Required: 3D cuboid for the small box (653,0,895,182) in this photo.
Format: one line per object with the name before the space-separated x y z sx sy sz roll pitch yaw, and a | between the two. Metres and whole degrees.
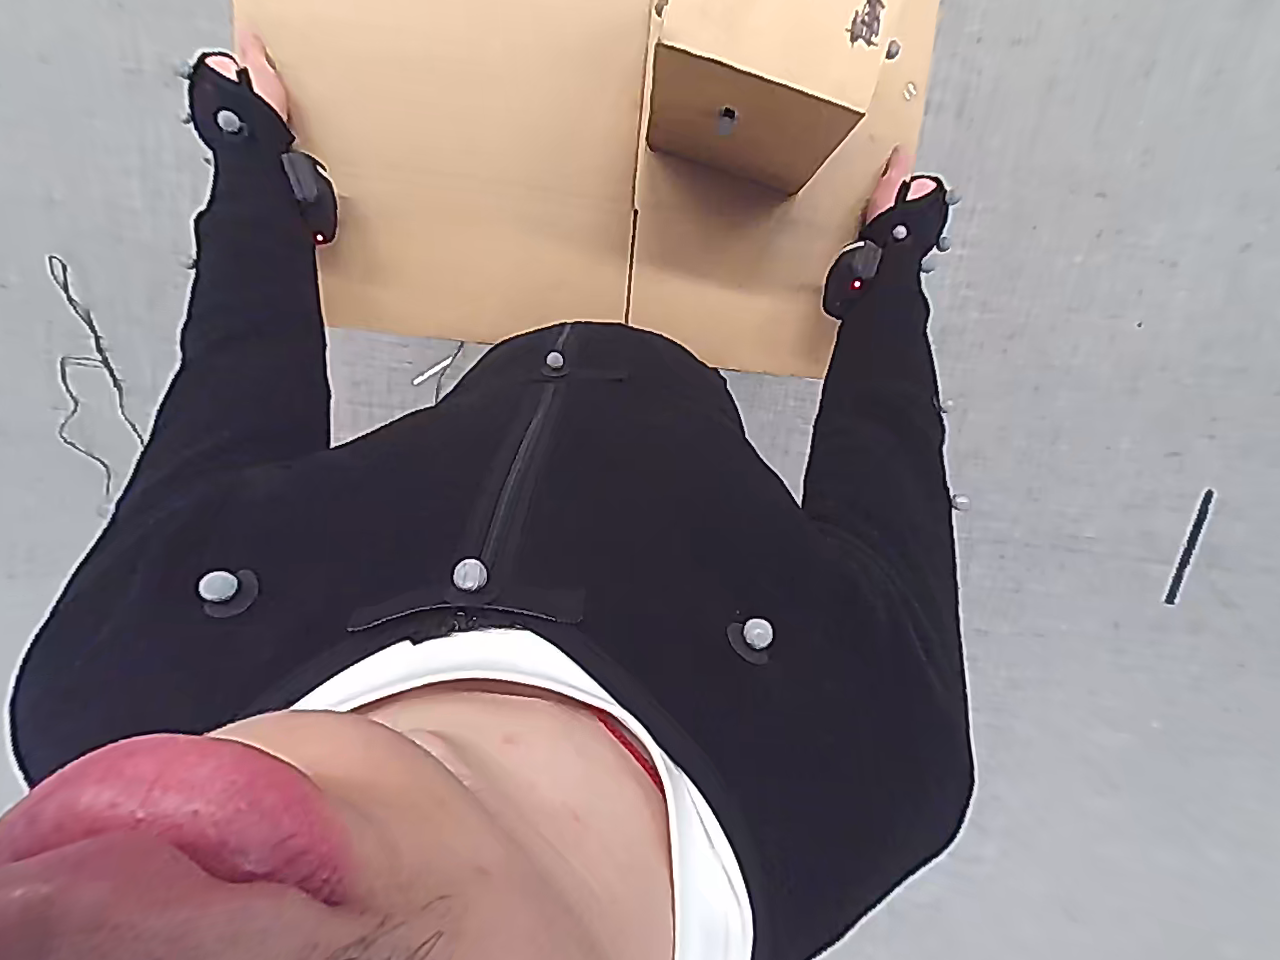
small box | 0.115 -0.406 0.495 0.179 0.176 0.168 16 98 -3
